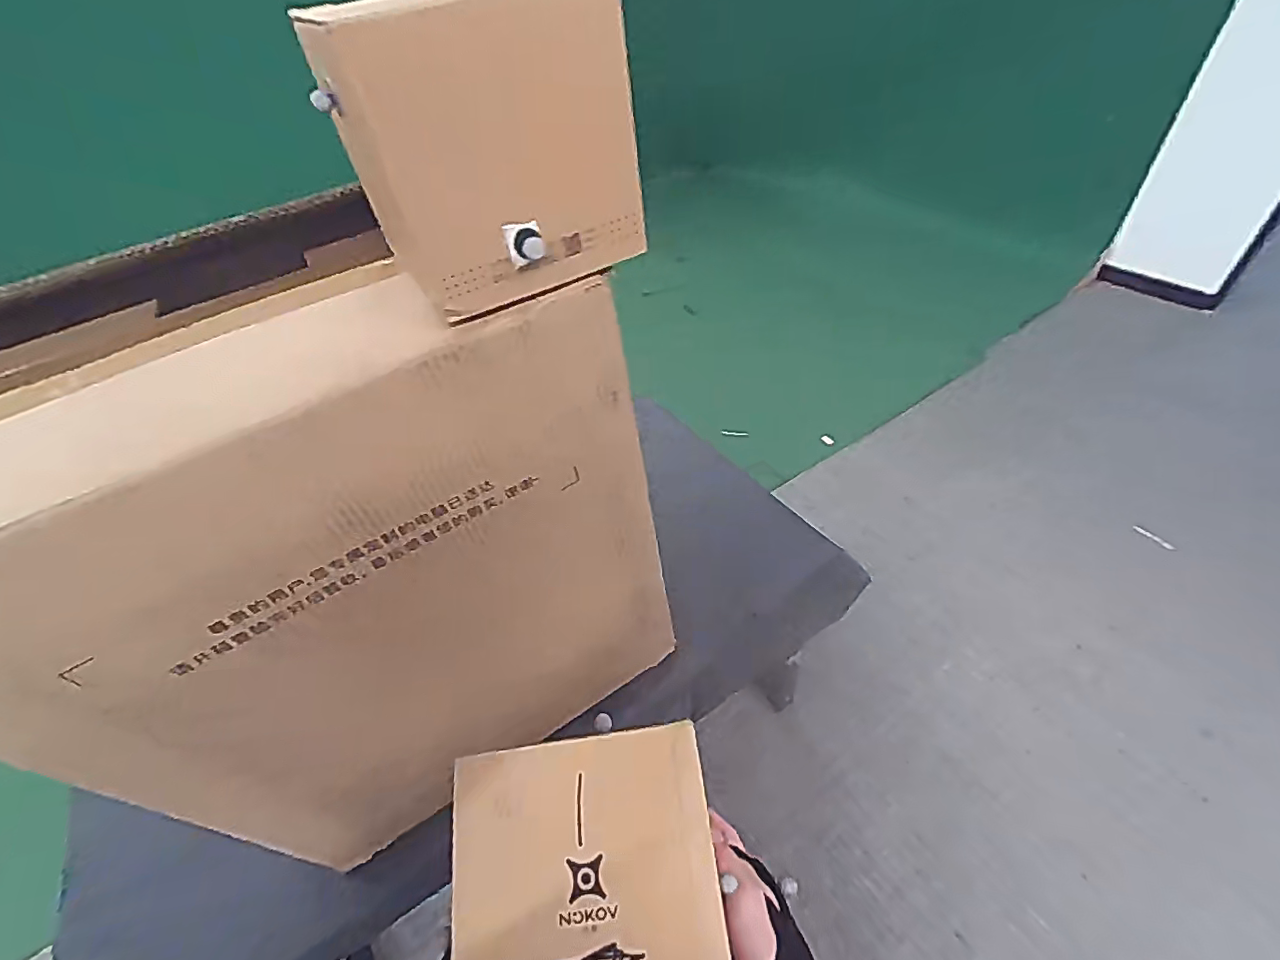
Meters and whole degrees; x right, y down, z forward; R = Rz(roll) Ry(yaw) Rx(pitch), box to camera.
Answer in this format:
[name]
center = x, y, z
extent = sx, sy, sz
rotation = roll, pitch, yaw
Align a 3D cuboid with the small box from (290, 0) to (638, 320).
[small box]
center = -0.118, -0.244, 0.399
extent = 0.168, 0.176, 0.179
rotation = -29, 50, -18
